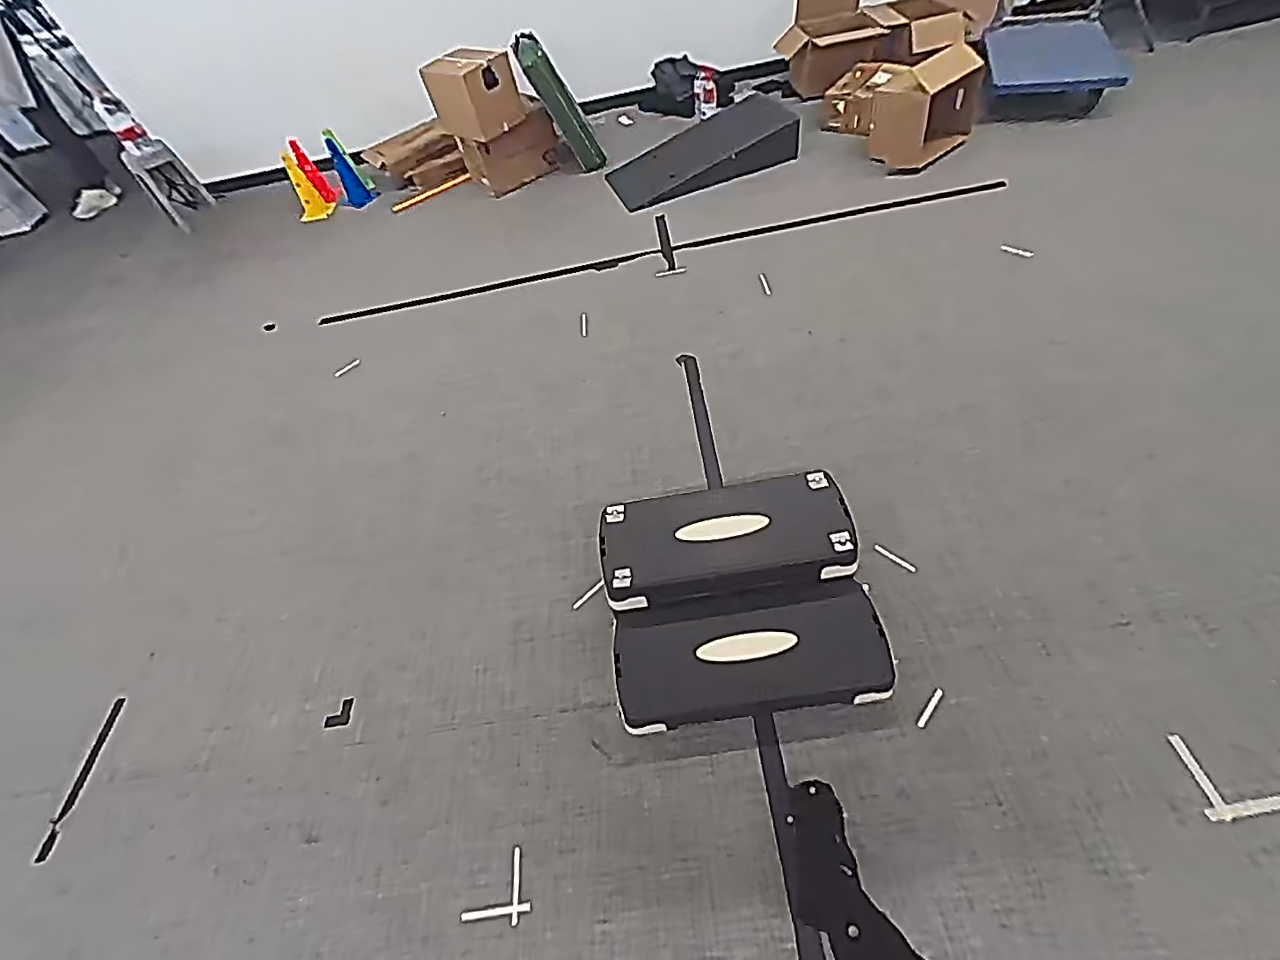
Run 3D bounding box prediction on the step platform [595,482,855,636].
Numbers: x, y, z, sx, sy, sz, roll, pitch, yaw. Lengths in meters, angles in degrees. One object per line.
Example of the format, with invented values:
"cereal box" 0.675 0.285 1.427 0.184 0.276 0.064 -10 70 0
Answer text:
"step platform" 0.219 0.212 1.484 0.684 0.204 0.286 -10 53 2
